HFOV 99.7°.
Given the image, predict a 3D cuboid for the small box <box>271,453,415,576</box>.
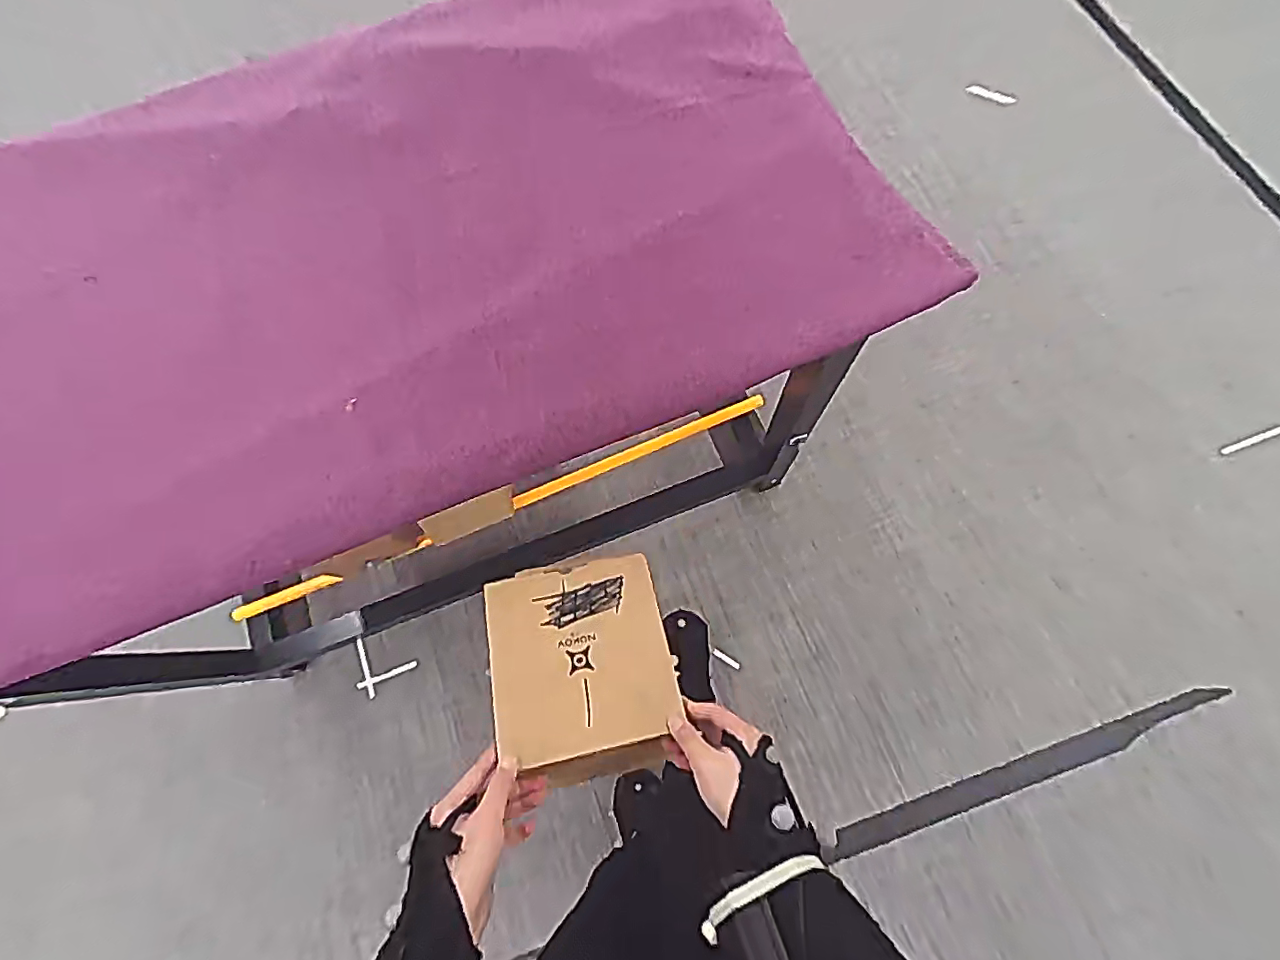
[{"bbox_3d":[-0.577,0.075,1.068,0.168,0.176,0.179,-24,75,-3],"label":"small box"}]
